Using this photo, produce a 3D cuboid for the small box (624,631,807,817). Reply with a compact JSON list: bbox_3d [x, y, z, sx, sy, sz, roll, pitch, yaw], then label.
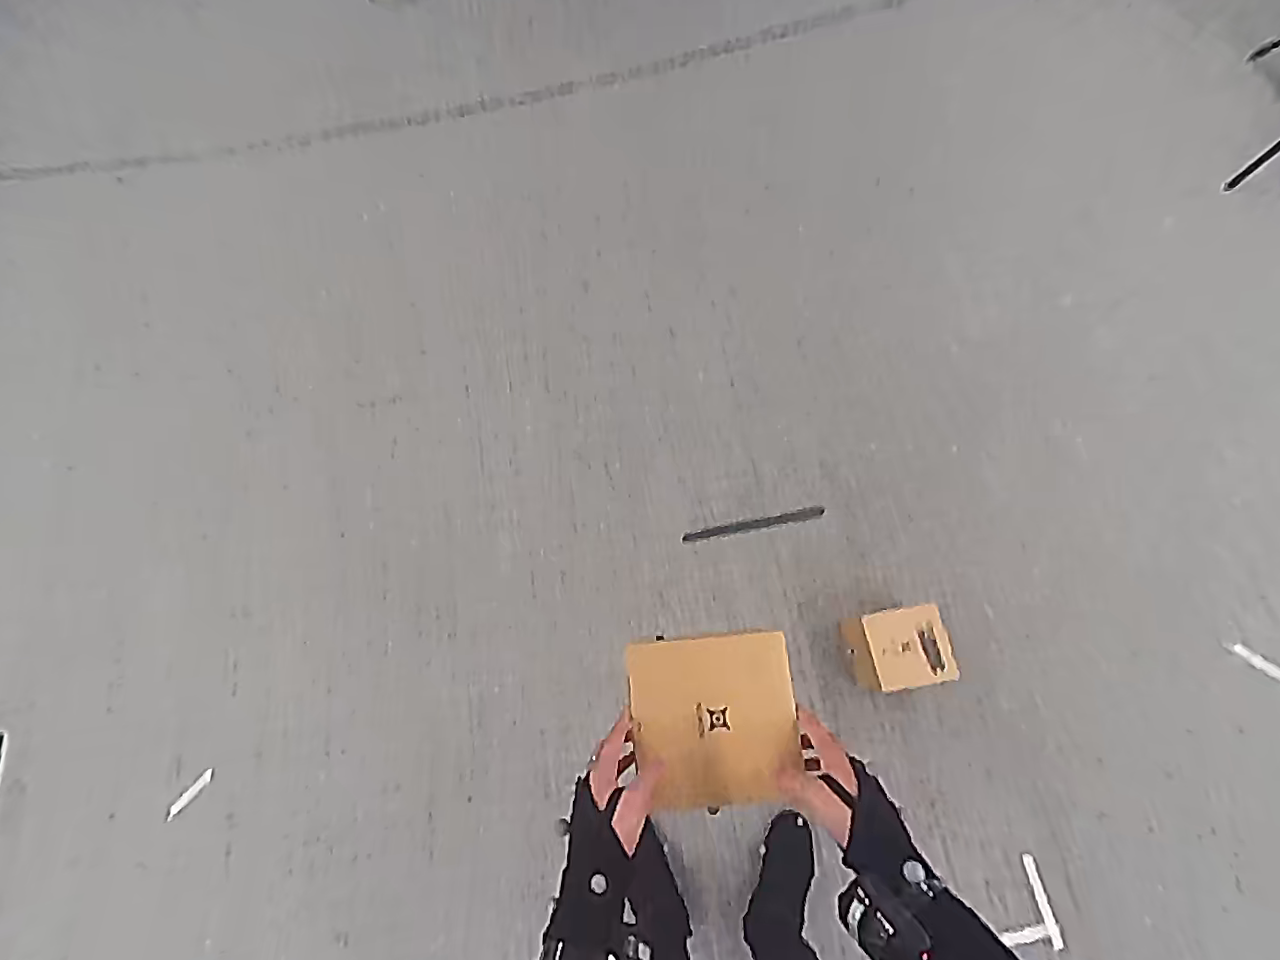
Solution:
[{"bbox_3d":[0.078,0.271,0.638,0.179,0.176,0.168,-6,75,1],"label":"small box"}]
